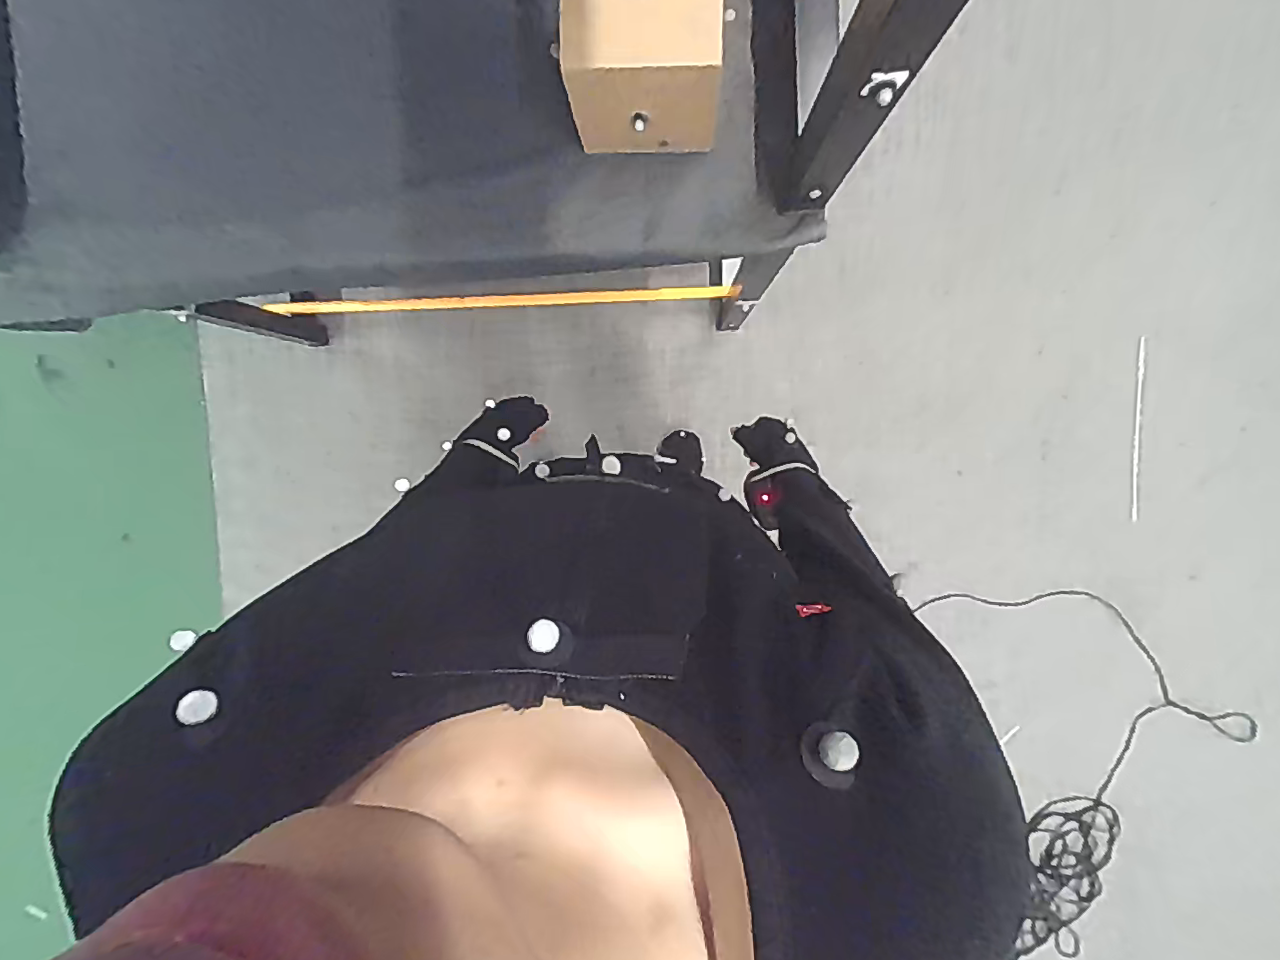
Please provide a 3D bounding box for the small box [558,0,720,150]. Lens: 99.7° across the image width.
[{"bbox_3d":[0.005,-0.506,0.619,0.168,0.176,0.179,2,94,3],"label":"small box"}]
